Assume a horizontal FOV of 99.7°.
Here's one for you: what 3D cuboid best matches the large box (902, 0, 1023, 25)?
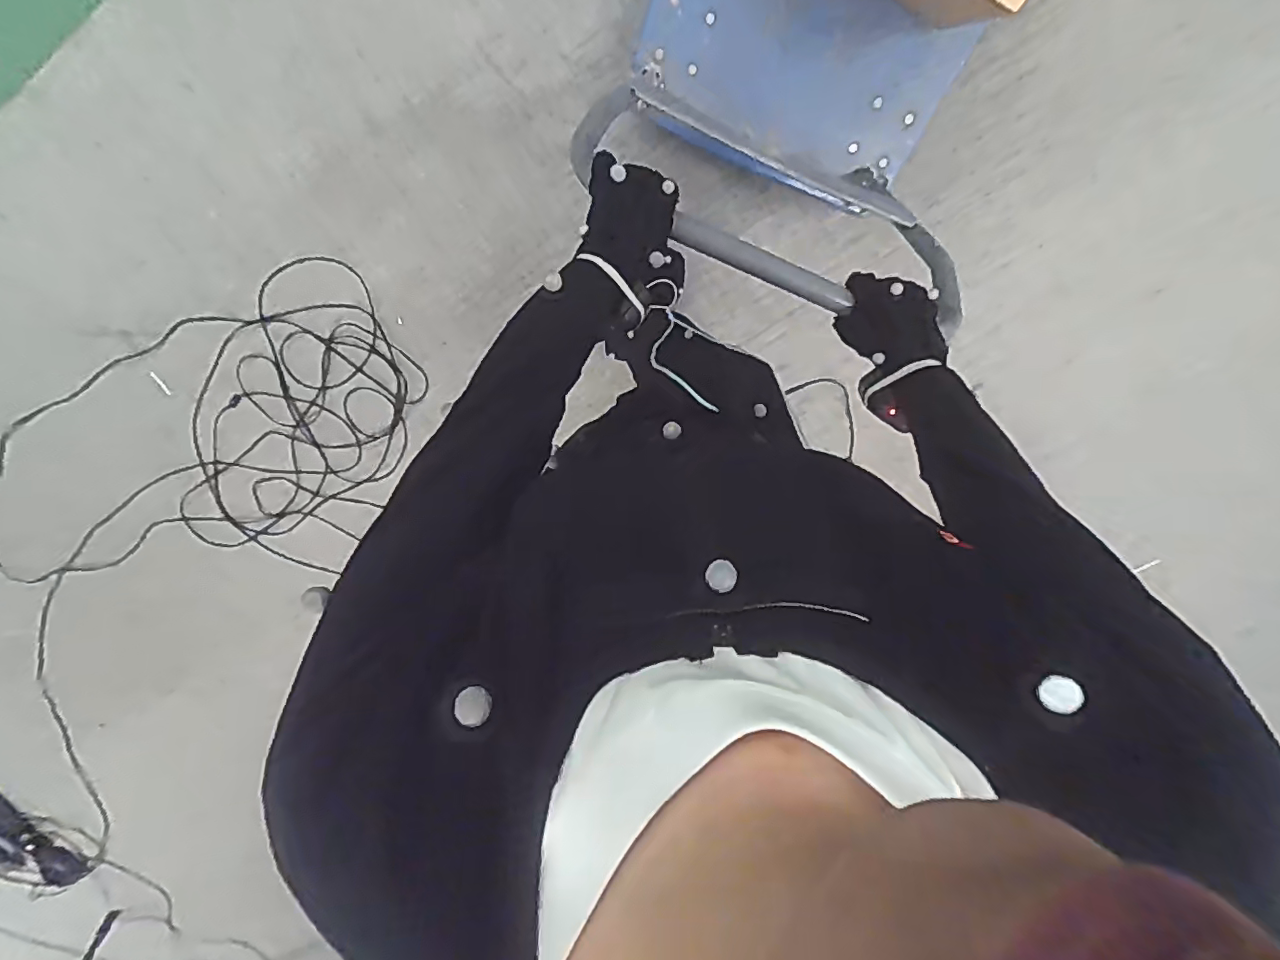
[{"bbox_3d":[0.408,-0.895,0.725,0.408,0.320,0.320,25,126,-9],"label":"large box"}]
